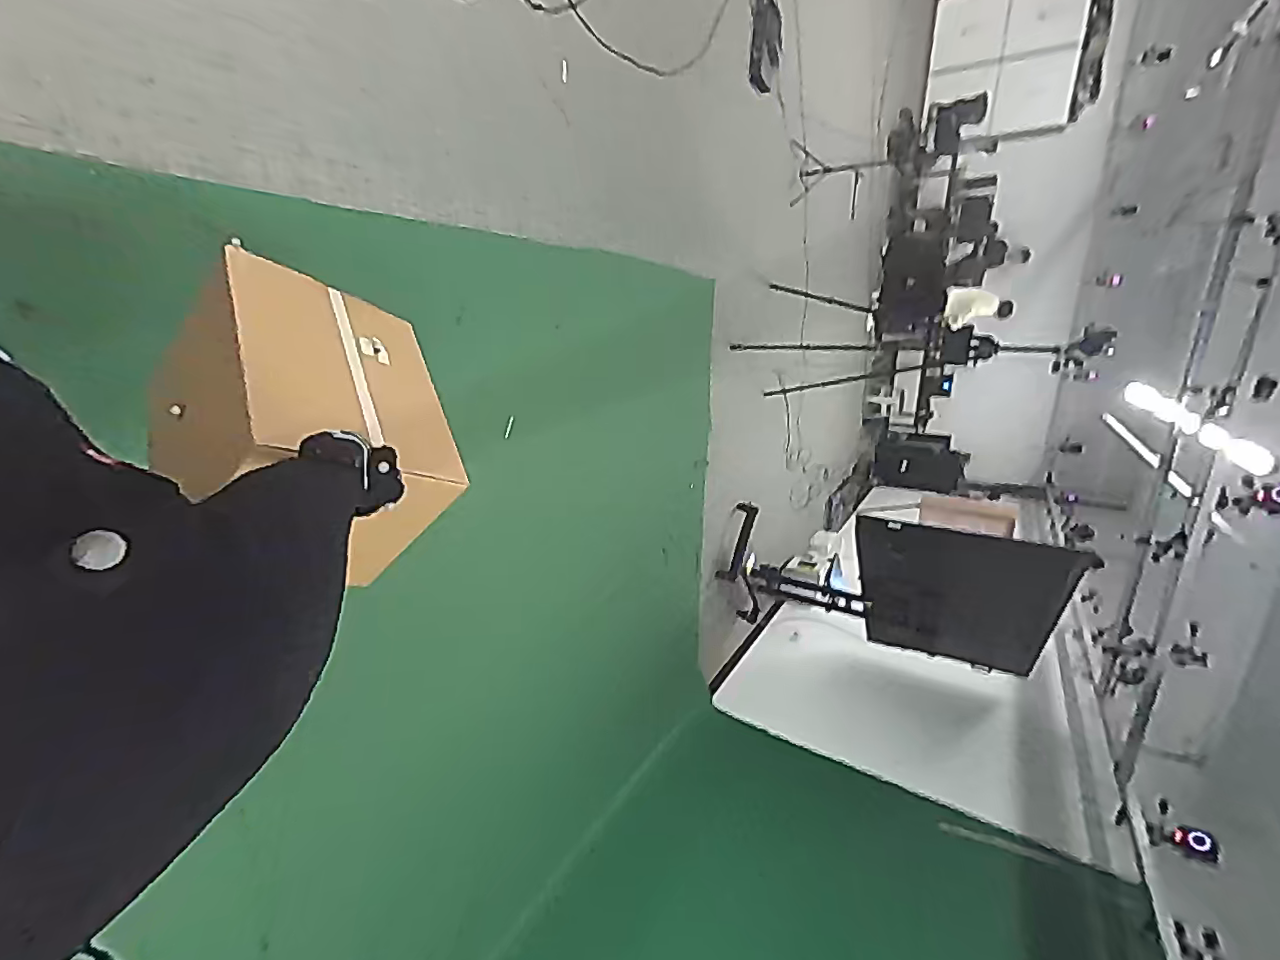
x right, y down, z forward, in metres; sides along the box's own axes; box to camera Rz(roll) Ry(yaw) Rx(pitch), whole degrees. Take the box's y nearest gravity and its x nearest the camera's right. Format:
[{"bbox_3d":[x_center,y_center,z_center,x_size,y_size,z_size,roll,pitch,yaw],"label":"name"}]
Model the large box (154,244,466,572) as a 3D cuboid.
[{"bbox_3d":[-0.564,-0.093,0.912,0.320,0.408,0.320,-40,152,21],"label":"large box"}]
